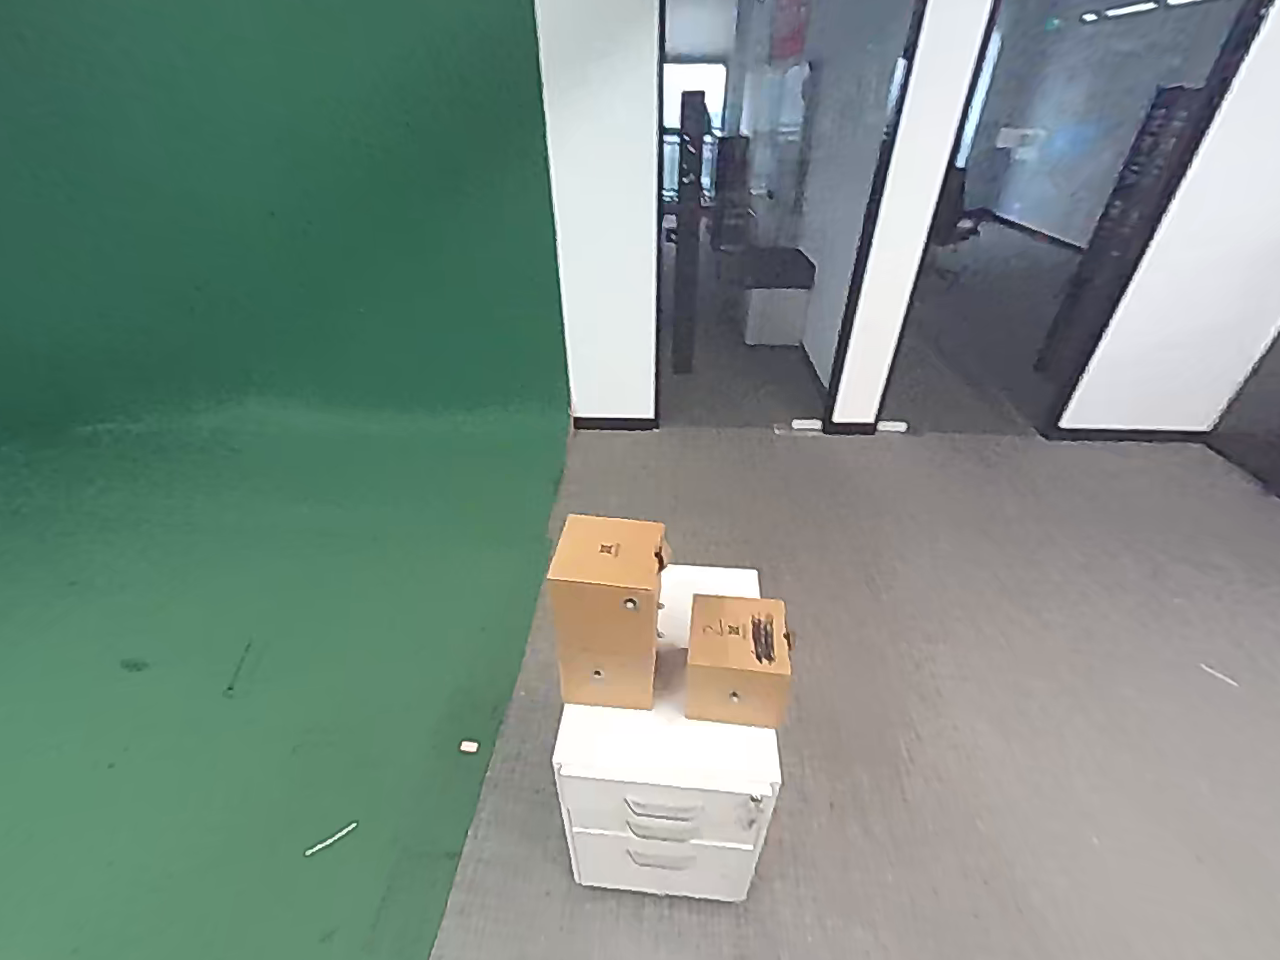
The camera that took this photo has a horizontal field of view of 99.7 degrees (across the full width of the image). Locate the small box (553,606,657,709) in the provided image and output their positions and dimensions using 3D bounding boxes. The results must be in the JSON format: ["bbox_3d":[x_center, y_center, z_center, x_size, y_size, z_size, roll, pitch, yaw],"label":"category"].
[{"bbox_3d":[-0.060,0.322,1.047,0.179,0.176,0.168,3,35,3],"label":"small box"}]

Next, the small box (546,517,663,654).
[{"bbox_3d":[-0.057,0.186,0.955,0.179,0.176,0.168,6,35,4],"label":"small box"}]
